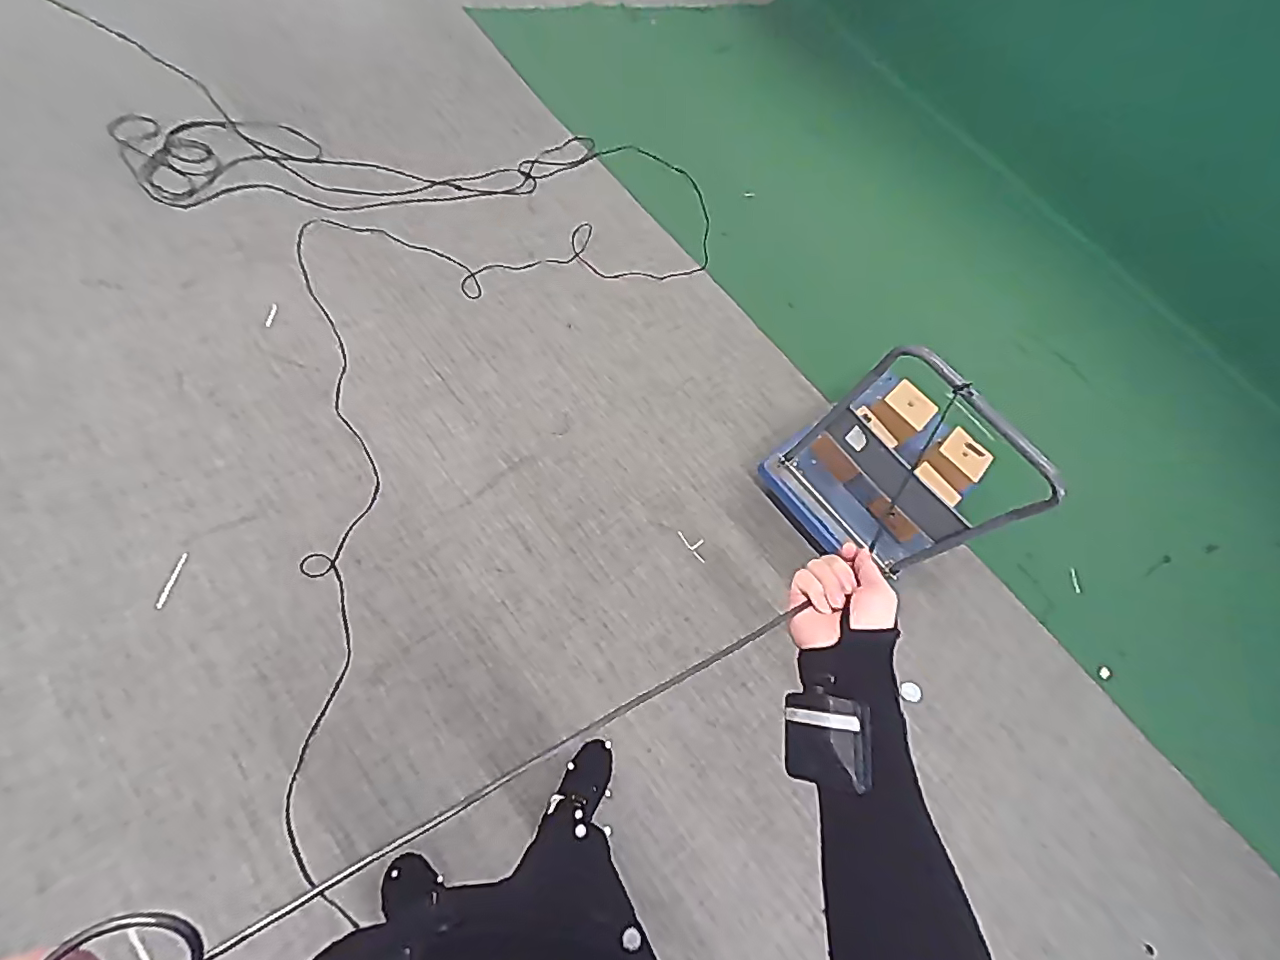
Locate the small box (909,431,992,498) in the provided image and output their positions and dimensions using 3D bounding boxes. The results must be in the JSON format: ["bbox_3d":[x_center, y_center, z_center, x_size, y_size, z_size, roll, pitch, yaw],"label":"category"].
[{"bbox_3d":[1.116,-0.040,1.956,0.179,0.176,0.168,-37,78,-30],"label":"small box"}]

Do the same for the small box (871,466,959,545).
[{"bbox_3d":[0.919,0.088,1.822,0.179,0.176,0.168,-32,76,-29],"label":"small box"}]

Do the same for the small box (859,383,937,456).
[{"bbox_3d":[0.945,-0.219,2.000,0.179,0.176,0.168,-37,79,-31],"label":"small box"}]
